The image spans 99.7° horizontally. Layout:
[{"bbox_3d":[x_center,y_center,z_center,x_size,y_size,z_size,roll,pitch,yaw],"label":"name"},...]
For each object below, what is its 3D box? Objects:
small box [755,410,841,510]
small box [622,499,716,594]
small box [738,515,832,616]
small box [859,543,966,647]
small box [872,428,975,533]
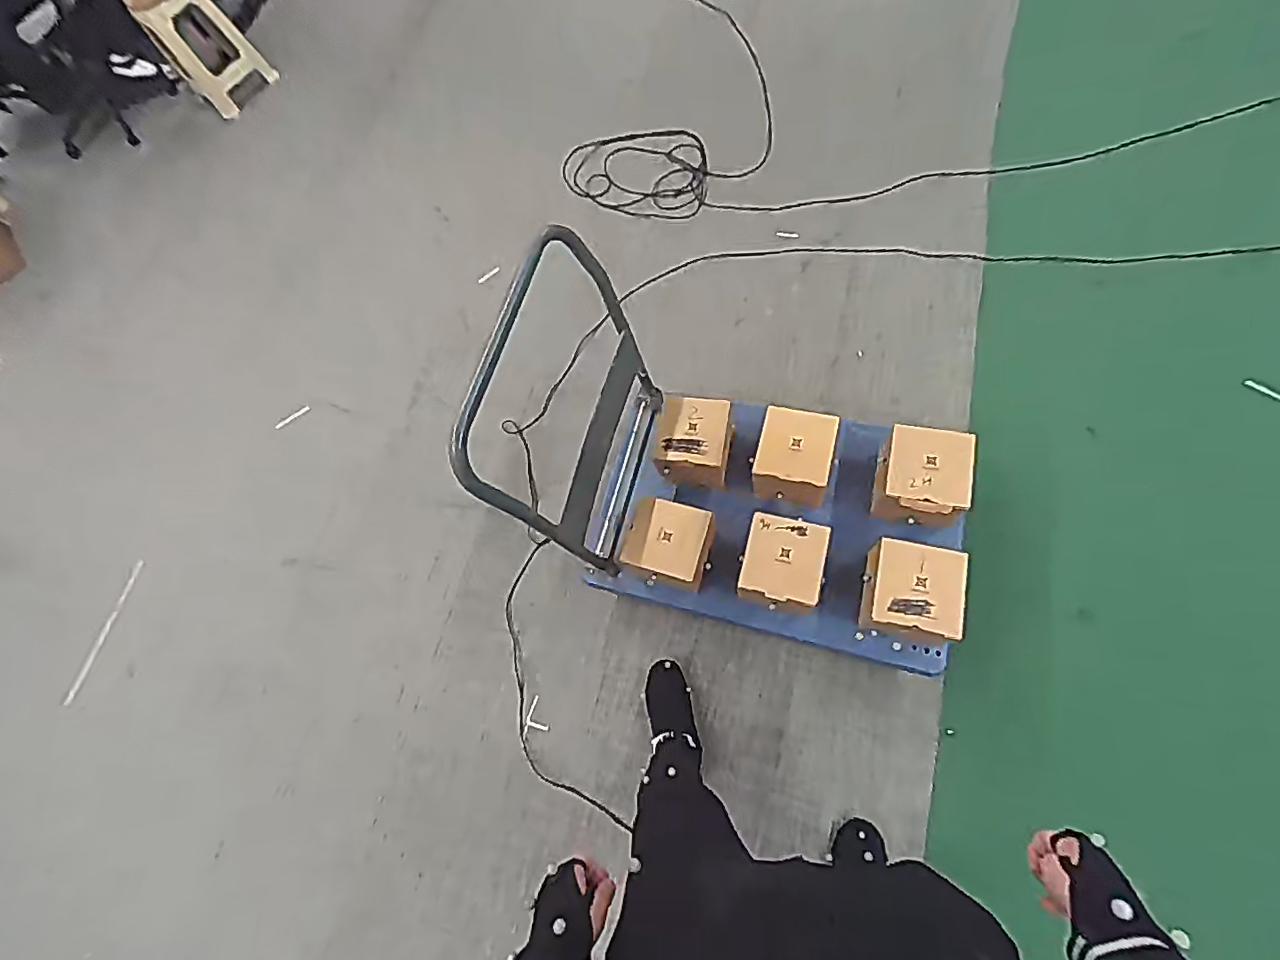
[{"bbox_3d":[0.377,-0.045,1.313,0.168,0.176,0.179,12,74,15],"label":"small box"},{"bbox_3d":[0.076,0.164,1.294,0.179,0.176,0.168,15,74,15],"label":"small box"},{"bbox_3d":[0.325,0.201,1.228,0.168,0.176,0.179,13,73,15],"label":"small box"},{"bbox_3d":[0.583,0.256,1.174,0.168,0.176,0.179,11,72,15],"label":"small box"},{"bbox_3d":[0.642,0.005,1.238,0.168,0.176,0.179,11,72,16],"label":"small box"}]
